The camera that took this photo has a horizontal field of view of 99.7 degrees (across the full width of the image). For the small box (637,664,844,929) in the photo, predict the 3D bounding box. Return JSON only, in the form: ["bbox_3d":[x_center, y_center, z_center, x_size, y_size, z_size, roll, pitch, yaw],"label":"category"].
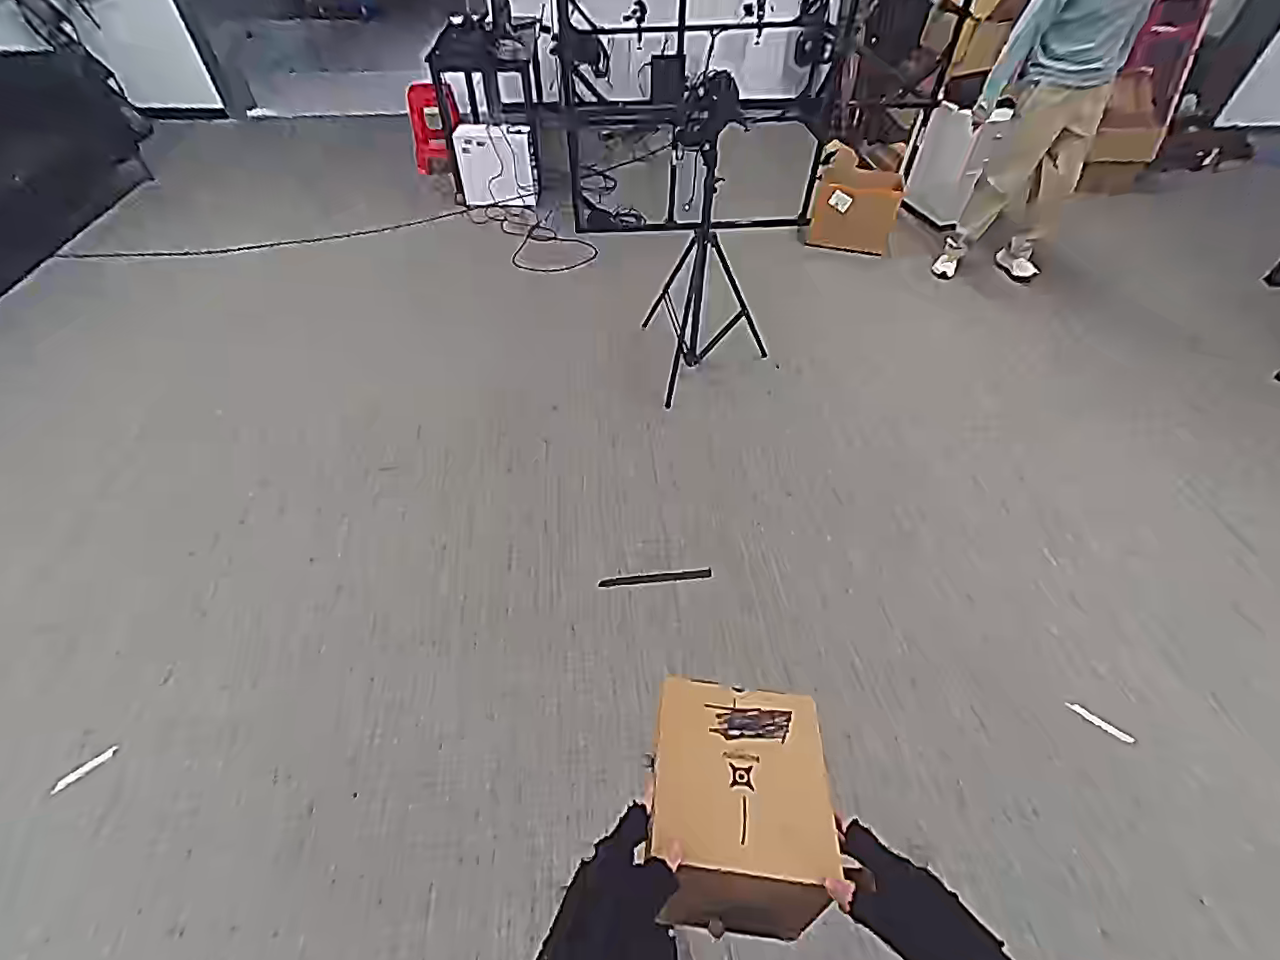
[{"bbox_3d":[0.090,0.324,0.560,0.168,0.176,0.179,7,38,2],"label":"small box"}]
